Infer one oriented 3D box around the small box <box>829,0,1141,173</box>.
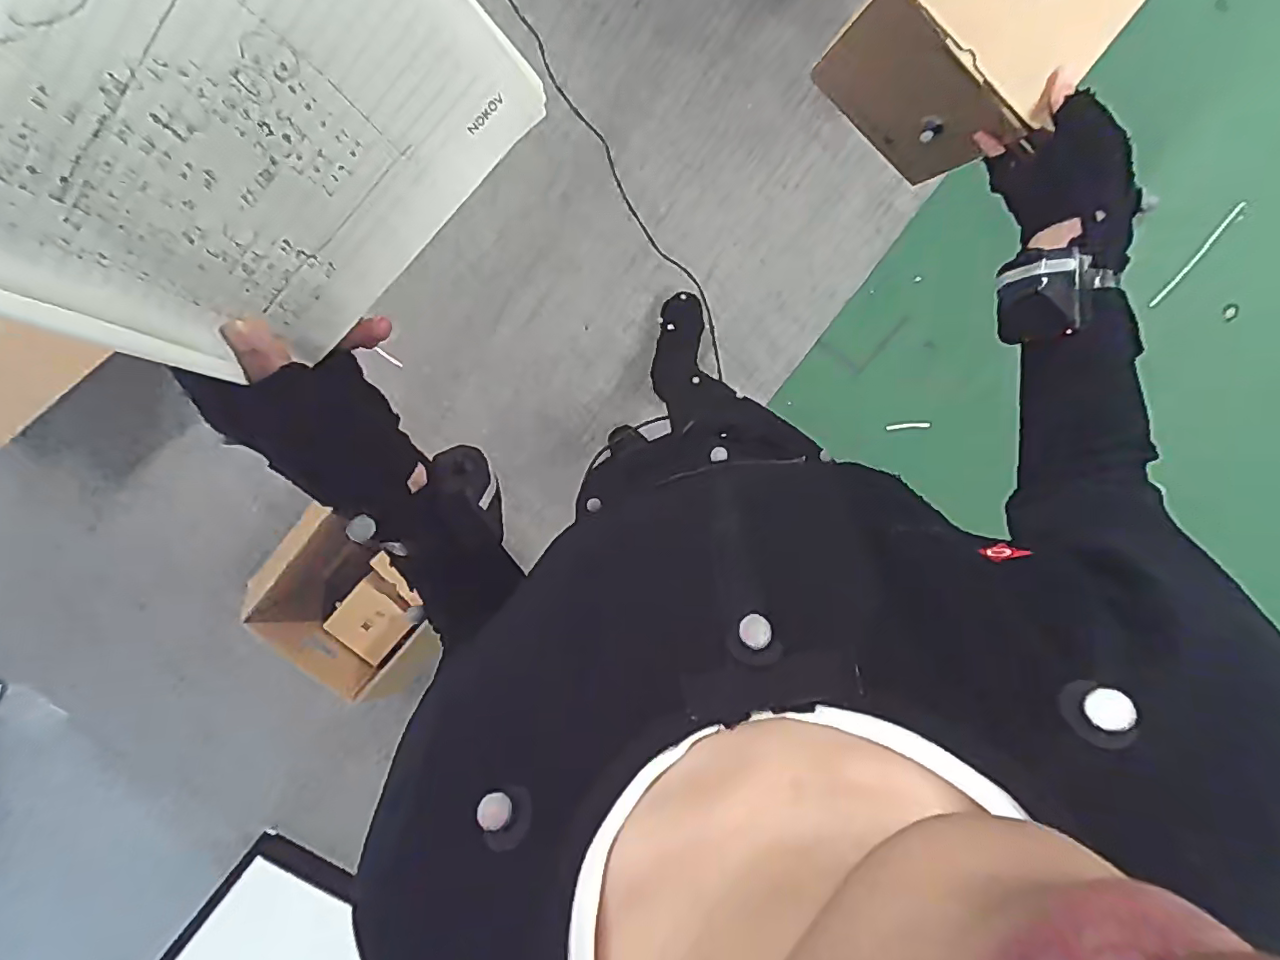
[{"bbox_3d":[0.296,-0.414,0.479,0.168,0.176,0.179,36,99,-14],"label":"small box"}]
